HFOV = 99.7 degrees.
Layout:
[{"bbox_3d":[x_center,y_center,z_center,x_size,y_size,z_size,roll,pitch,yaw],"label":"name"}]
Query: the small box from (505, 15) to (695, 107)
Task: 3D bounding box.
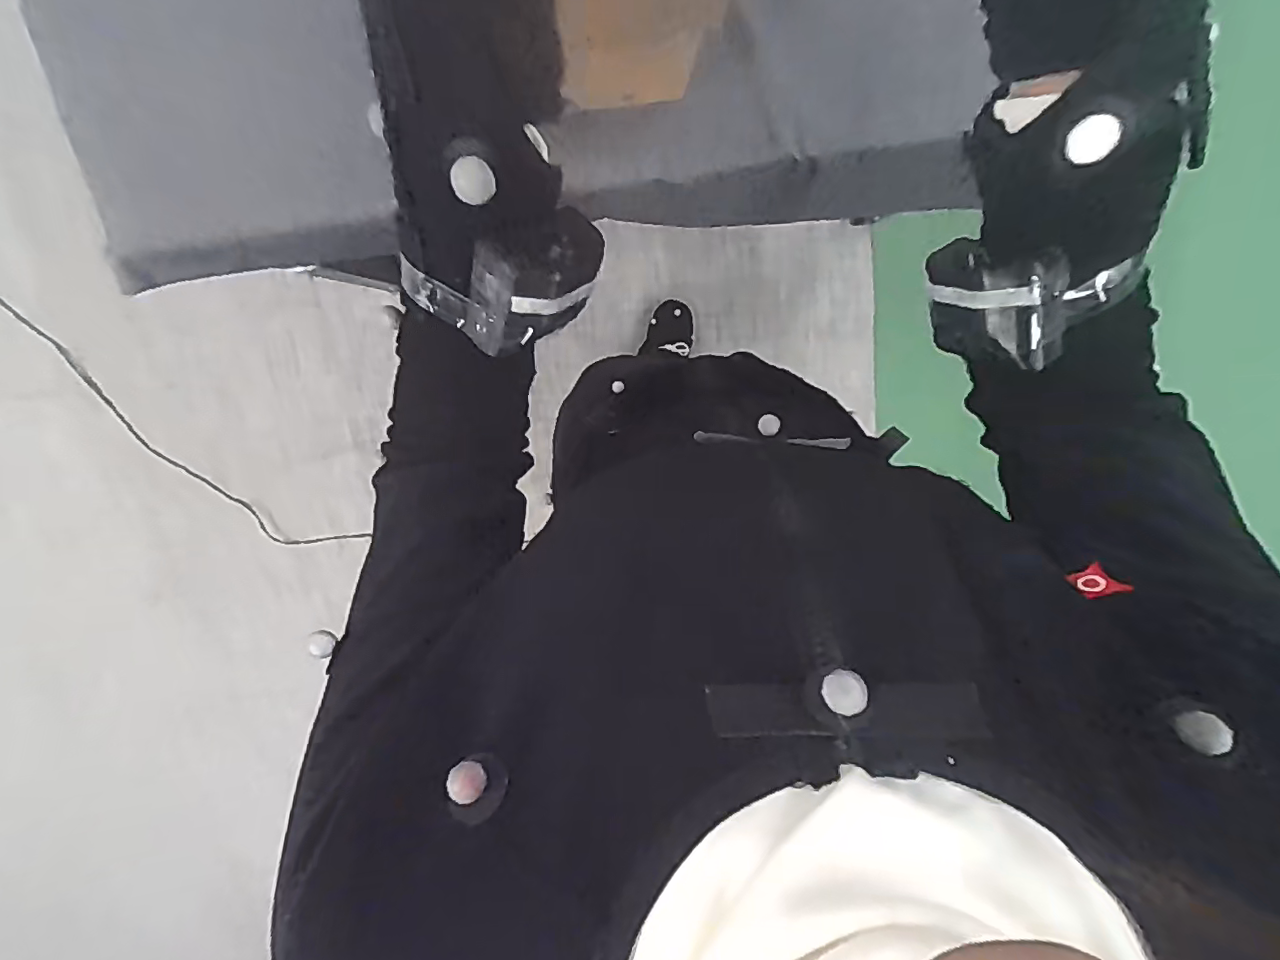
[{"bbox_3d":[-0.045,-0.468,0.487,0.168,0.176,0.179,-11,105,0],"label":"small box"}]
